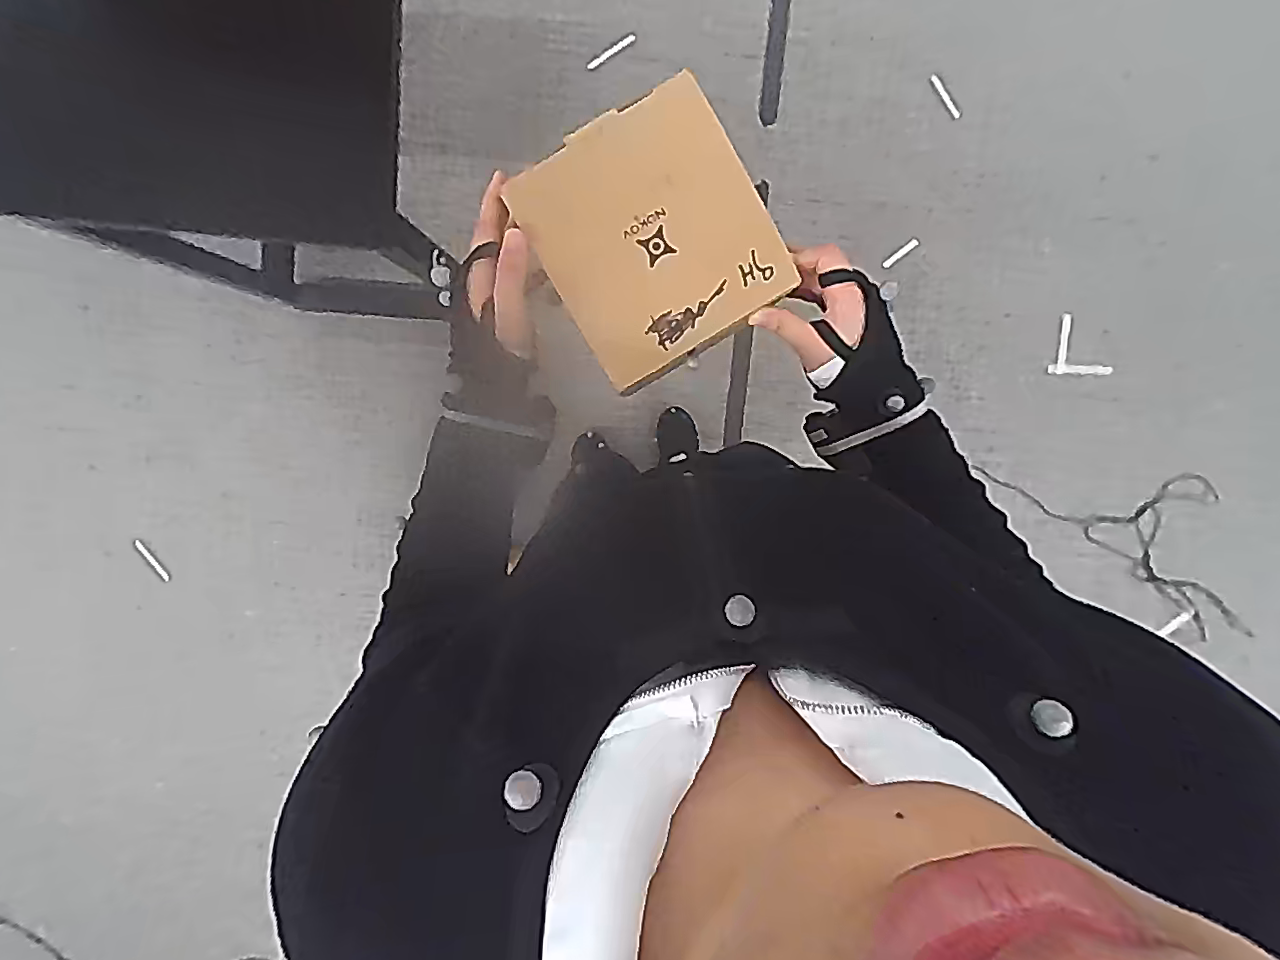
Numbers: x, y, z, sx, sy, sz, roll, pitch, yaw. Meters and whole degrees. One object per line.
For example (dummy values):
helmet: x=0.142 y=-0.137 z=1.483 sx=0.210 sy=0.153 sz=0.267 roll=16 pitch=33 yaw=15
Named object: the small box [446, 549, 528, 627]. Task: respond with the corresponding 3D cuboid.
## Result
small box: x=-0.404 y=0.284 z=1.449 sx=0.179 sy=0.176 sz=0.168 roll=0 pitch=97 yaw=0
